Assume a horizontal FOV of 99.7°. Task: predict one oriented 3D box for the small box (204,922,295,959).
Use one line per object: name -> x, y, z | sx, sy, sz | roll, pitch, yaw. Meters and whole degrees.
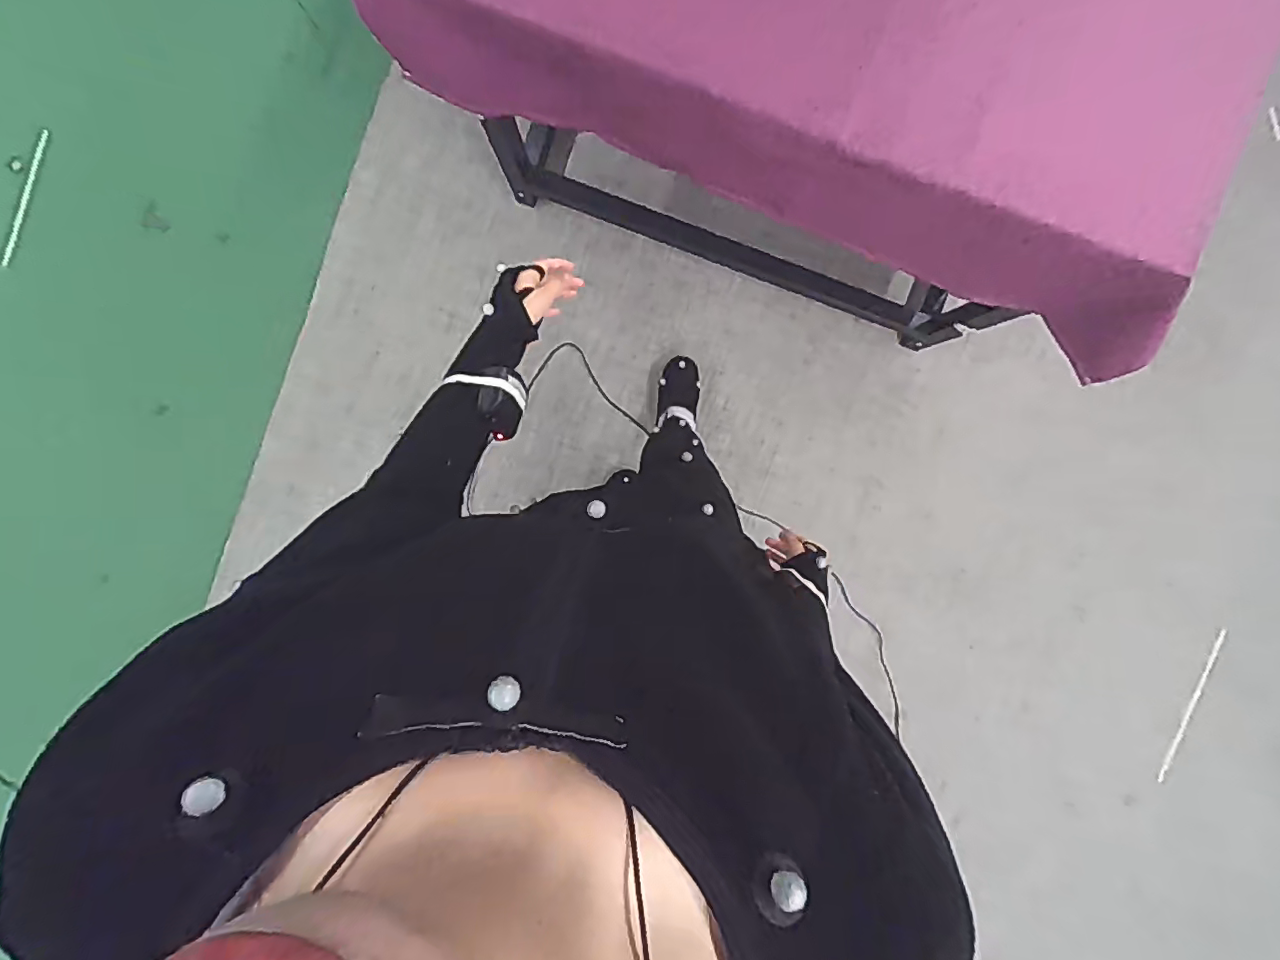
small box -> -0.958, 1.214, 1.279 | 0.168, 0.176, 0.179 | 17, 92, -3
